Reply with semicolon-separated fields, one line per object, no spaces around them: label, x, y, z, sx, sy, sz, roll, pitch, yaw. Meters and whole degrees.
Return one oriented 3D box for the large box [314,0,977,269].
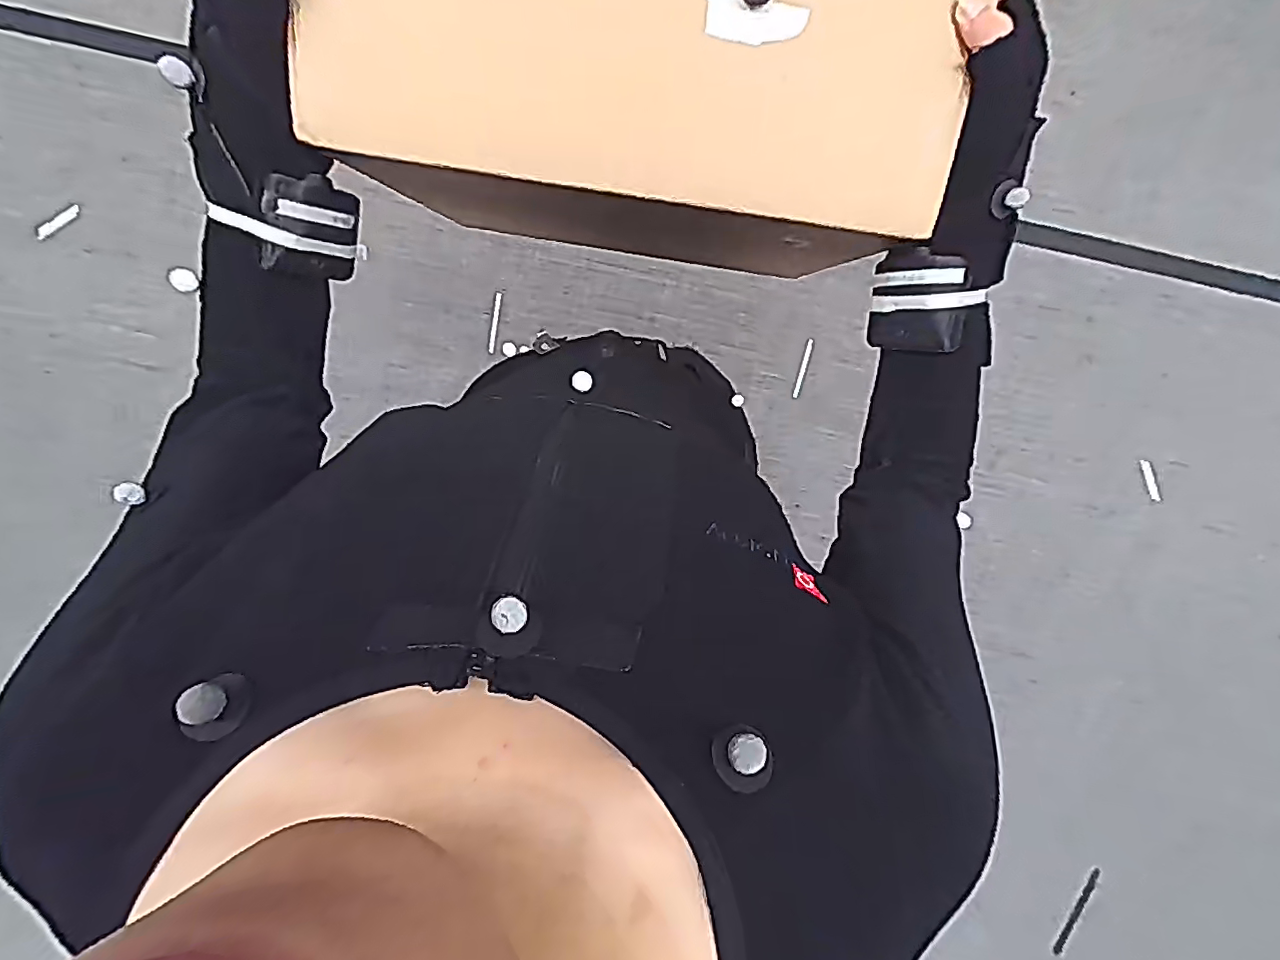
large box;0.010;-0.379;0.455;0.408;0.320;0.320;8;106;-2
